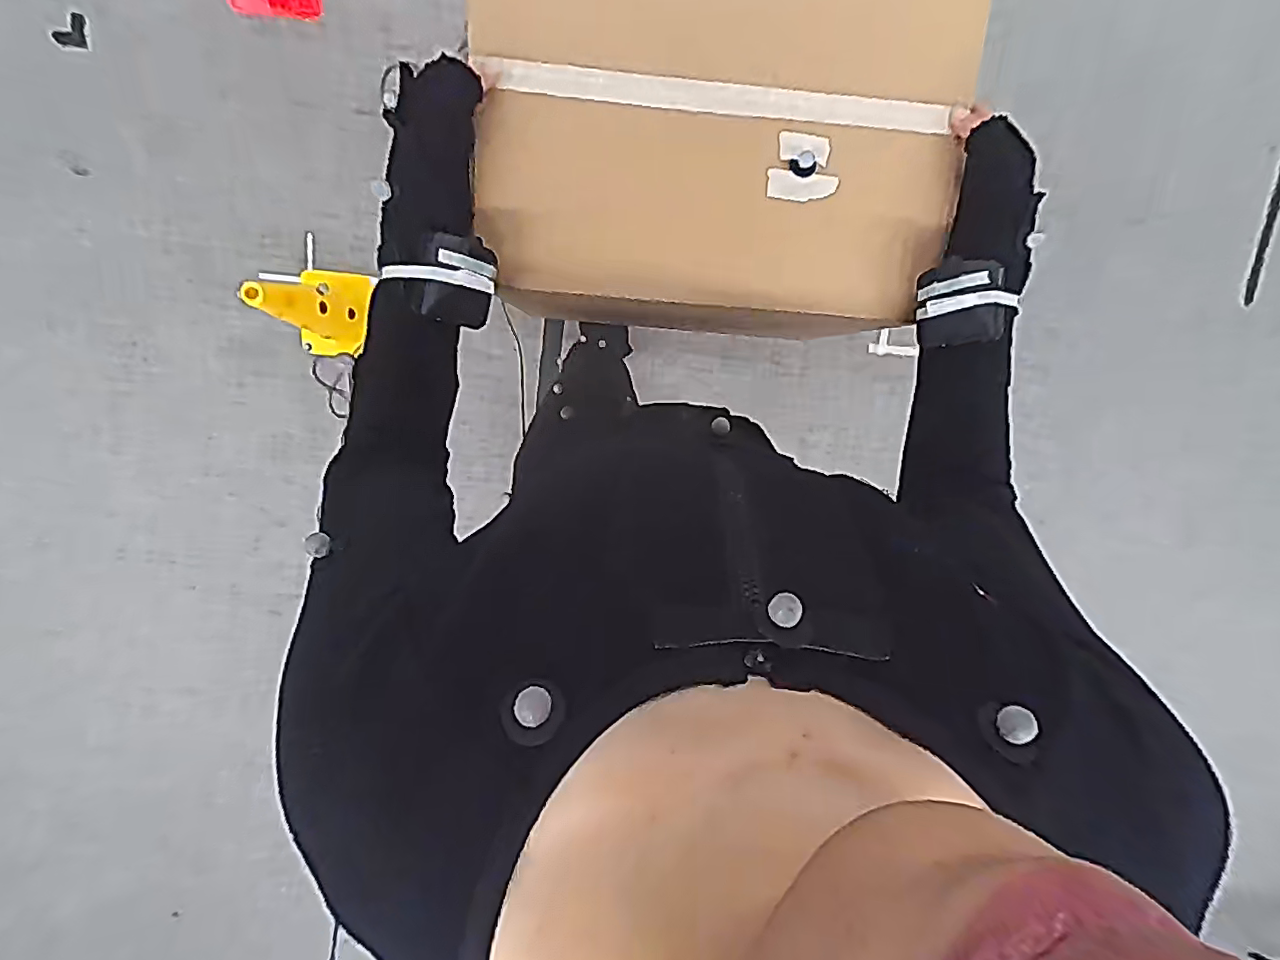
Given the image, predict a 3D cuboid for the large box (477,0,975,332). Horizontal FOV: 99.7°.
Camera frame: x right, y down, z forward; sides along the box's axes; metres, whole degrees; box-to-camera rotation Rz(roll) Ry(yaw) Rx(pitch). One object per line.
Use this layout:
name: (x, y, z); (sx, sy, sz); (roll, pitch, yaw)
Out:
large box: (0.057, -0.340, 0.586); (0.408, 0.320, 0.320); (3, 102, -4)

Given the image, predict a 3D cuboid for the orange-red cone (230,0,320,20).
orange-red cone: (-0.803, -1.100, 1.026); (0.198, 0.360, 0.199); (4, 102, -3)
